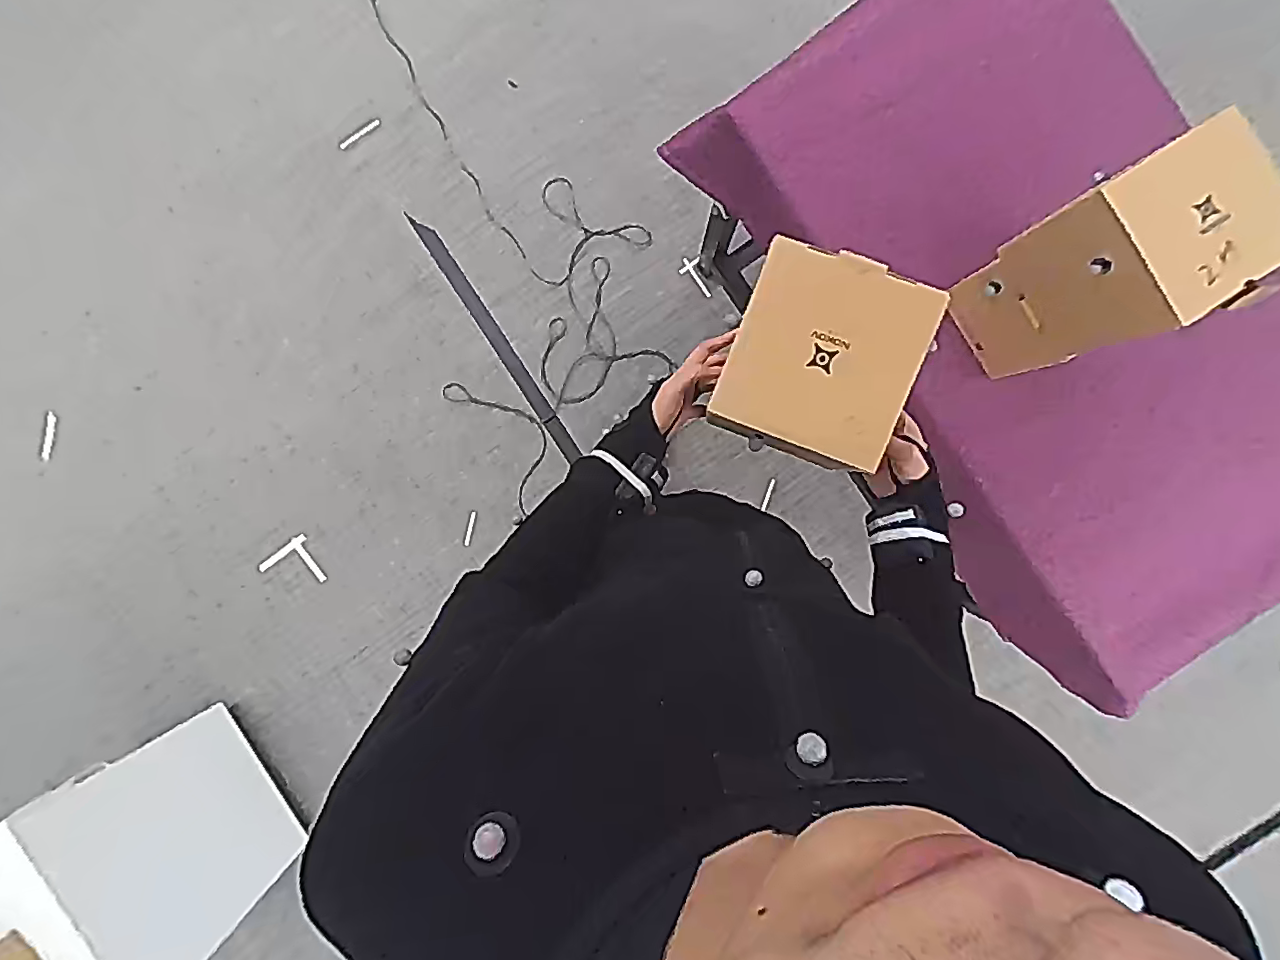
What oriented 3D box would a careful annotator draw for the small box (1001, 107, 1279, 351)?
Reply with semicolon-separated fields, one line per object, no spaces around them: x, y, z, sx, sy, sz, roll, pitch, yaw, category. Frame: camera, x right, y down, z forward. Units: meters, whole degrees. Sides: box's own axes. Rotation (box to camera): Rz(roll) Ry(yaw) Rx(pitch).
0.589;-0.282;0.650;0.168;0.176;0.179;-32;92;1;small box

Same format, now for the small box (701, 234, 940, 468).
0.173;-0.119;0.572;0.168;0.176;0.179;21;93;6;small box
